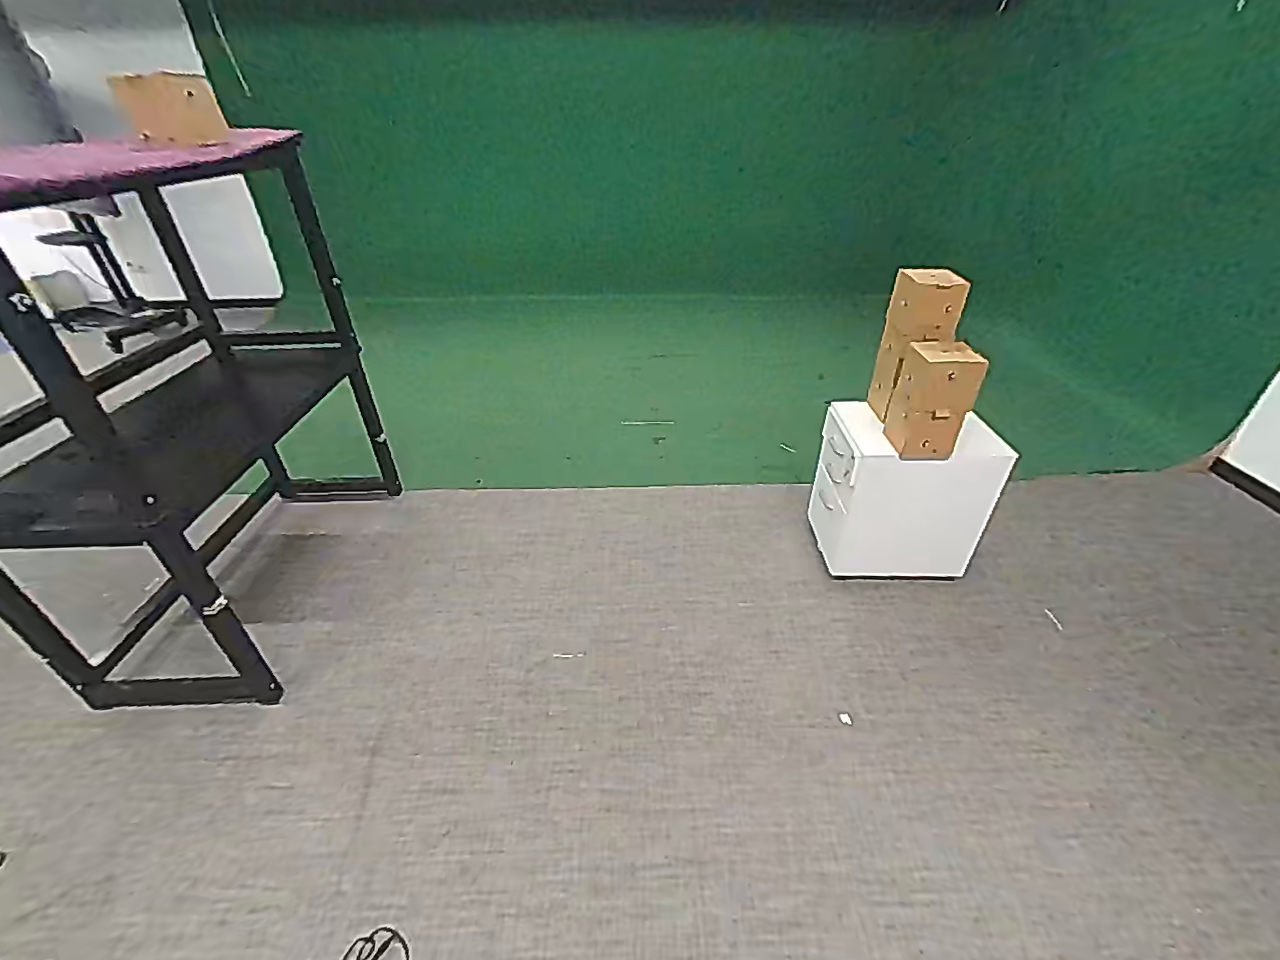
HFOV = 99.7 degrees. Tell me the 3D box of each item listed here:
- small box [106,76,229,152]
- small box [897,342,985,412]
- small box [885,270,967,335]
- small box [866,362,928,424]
[{"bbox_3d":[-1.326,-1.036,1.537,0.168,0.176,0.179,-2,35,2],"label":"small box"},{"bbox_3d":[0.930,-0.323,1.695,0.179,0.176,0.168,1,35,1],"label":"small box"},{"bbox_3d":[0.939,-0.590,1.793,0.168,0.176,0.179,1,35,0],"label":"small box"},{"bbox_3d":[0.951,-0.320,1.980,0.168,0.176,0.179,0,36,0],"label":"small box"}]
